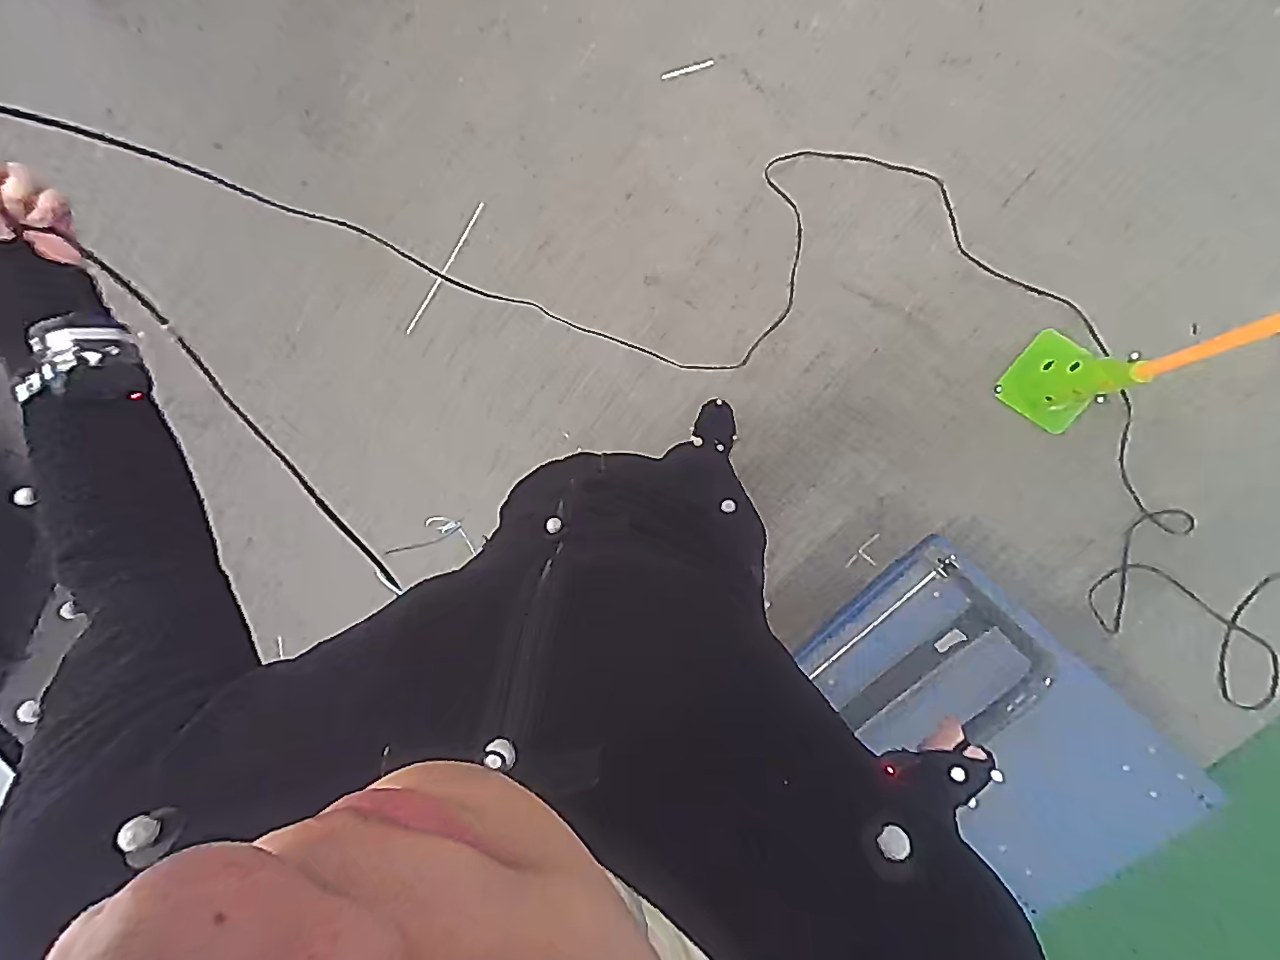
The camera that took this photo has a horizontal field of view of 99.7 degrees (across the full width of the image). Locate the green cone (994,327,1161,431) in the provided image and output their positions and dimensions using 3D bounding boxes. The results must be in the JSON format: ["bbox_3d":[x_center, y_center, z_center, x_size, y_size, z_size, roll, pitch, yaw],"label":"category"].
[{"bbox_3d":[0.981,-0.229,1.171,0.200,0.368,0.202,36,103,7],"label":"green cone"}]
